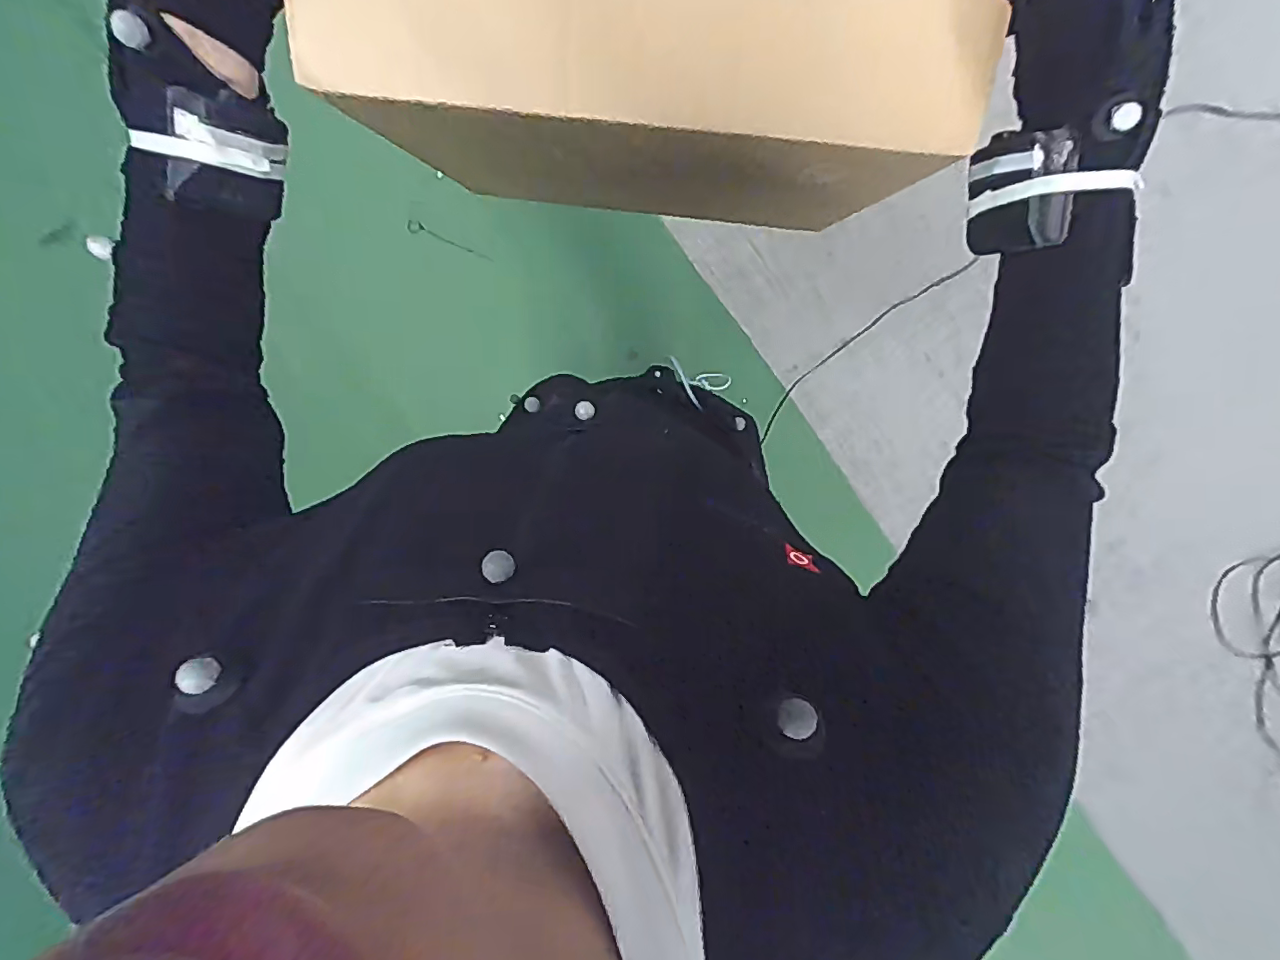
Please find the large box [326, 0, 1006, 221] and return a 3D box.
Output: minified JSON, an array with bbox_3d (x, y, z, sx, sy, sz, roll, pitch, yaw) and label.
[{"bbox_3d":[0.025,-0.412,0.429,0.408,0.320,0.320,6,108,0],"label":"large box"}]
